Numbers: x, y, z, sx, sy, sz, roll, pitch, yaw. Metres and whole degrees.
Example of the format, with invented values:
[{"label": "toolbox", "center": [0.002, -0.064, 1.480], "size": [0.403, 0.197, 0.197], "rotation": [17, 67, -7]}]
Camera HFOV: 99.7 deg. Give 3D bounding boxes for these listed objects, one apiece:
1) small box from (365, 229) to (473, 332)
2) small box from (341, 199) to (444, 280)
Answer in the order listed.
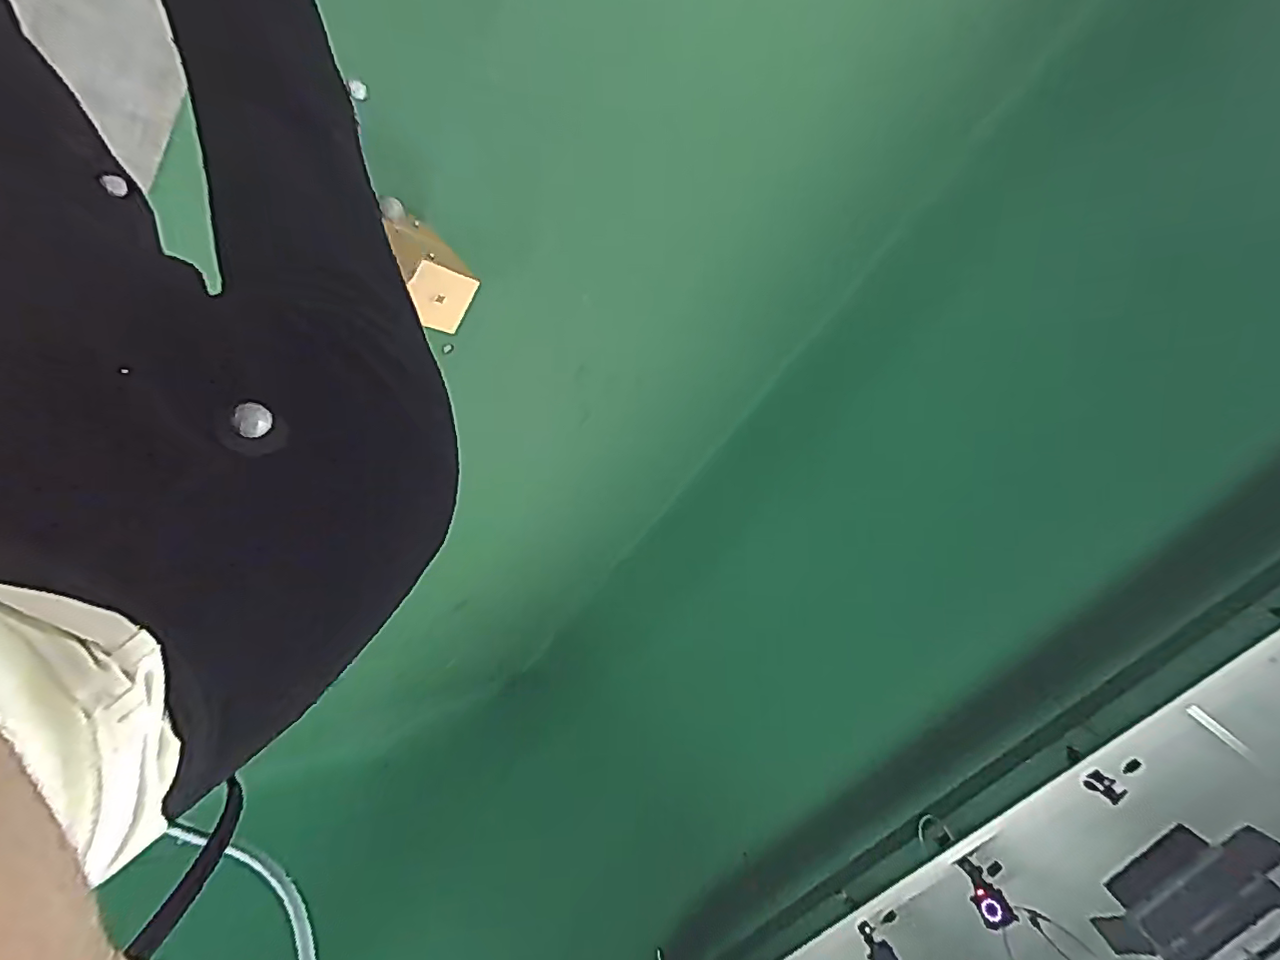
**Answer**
[{"label": "small box", "center": [-0.578, -0.519, 1.410], "size": [0.179, 0.176, 0.168], "rotation": [3, 130, -55]}, {"label": "small box", "center": [-0.678, -0.631, 1.473], "size": [0.168, 0.176, 0.179], "rotation": [-52, 153, 20]}]
